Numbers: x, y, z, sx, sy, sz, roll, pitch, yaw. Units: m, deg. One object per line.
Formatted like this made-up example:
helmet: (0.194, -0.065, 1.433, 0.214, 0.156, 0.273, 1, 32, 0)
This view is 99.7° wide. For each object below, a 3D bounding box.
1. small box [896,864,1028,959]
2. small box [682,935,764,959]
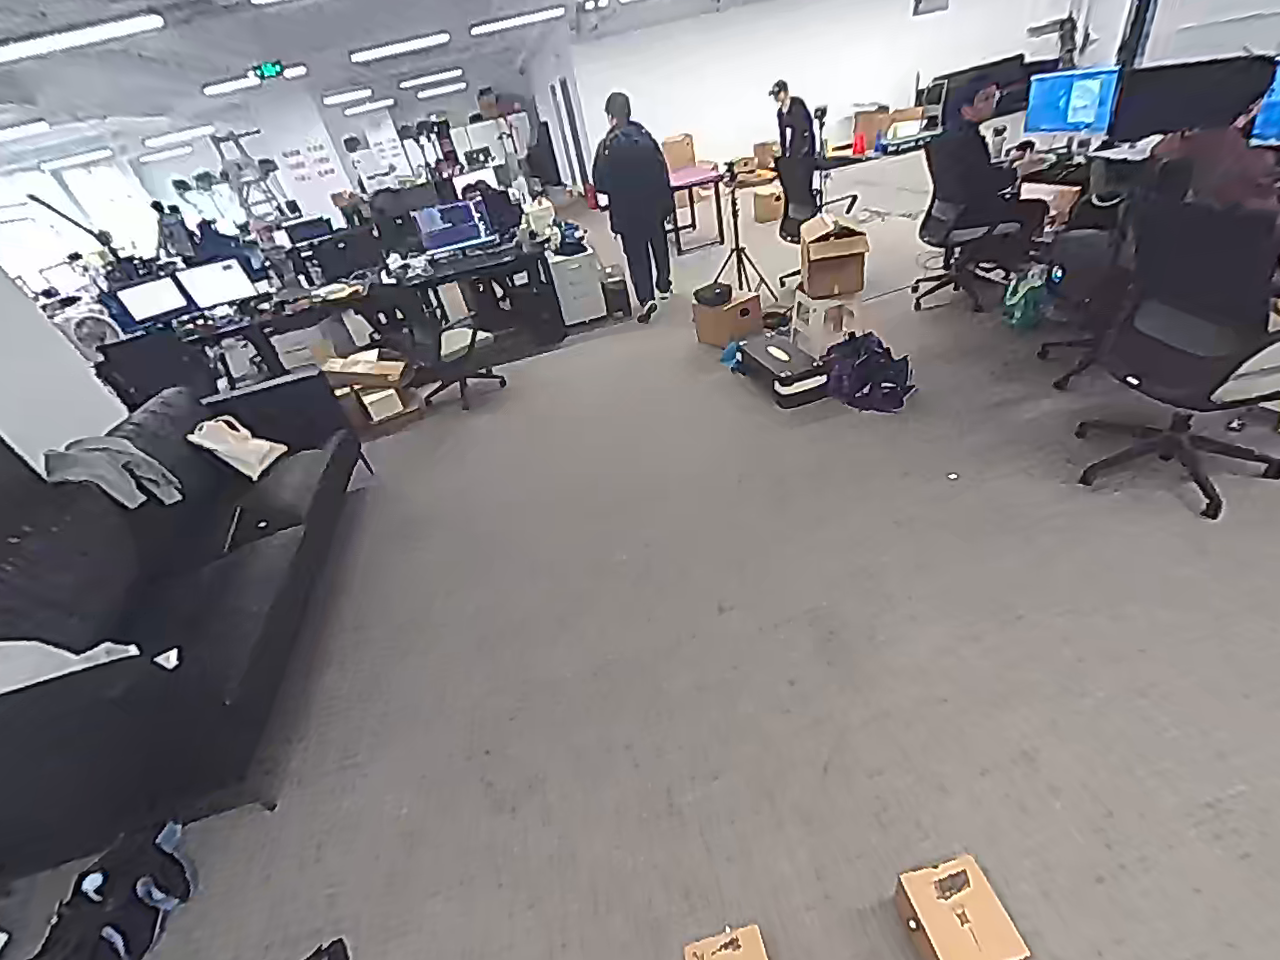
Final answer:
small box: (0.653, 0.945, 1.119, 0.168, 0.176, 0.179, -15, 35, -2)
small box: (0.194, 1.073, 1.092, 0.168, 0.176, 0.179, -15, 34, -3)
